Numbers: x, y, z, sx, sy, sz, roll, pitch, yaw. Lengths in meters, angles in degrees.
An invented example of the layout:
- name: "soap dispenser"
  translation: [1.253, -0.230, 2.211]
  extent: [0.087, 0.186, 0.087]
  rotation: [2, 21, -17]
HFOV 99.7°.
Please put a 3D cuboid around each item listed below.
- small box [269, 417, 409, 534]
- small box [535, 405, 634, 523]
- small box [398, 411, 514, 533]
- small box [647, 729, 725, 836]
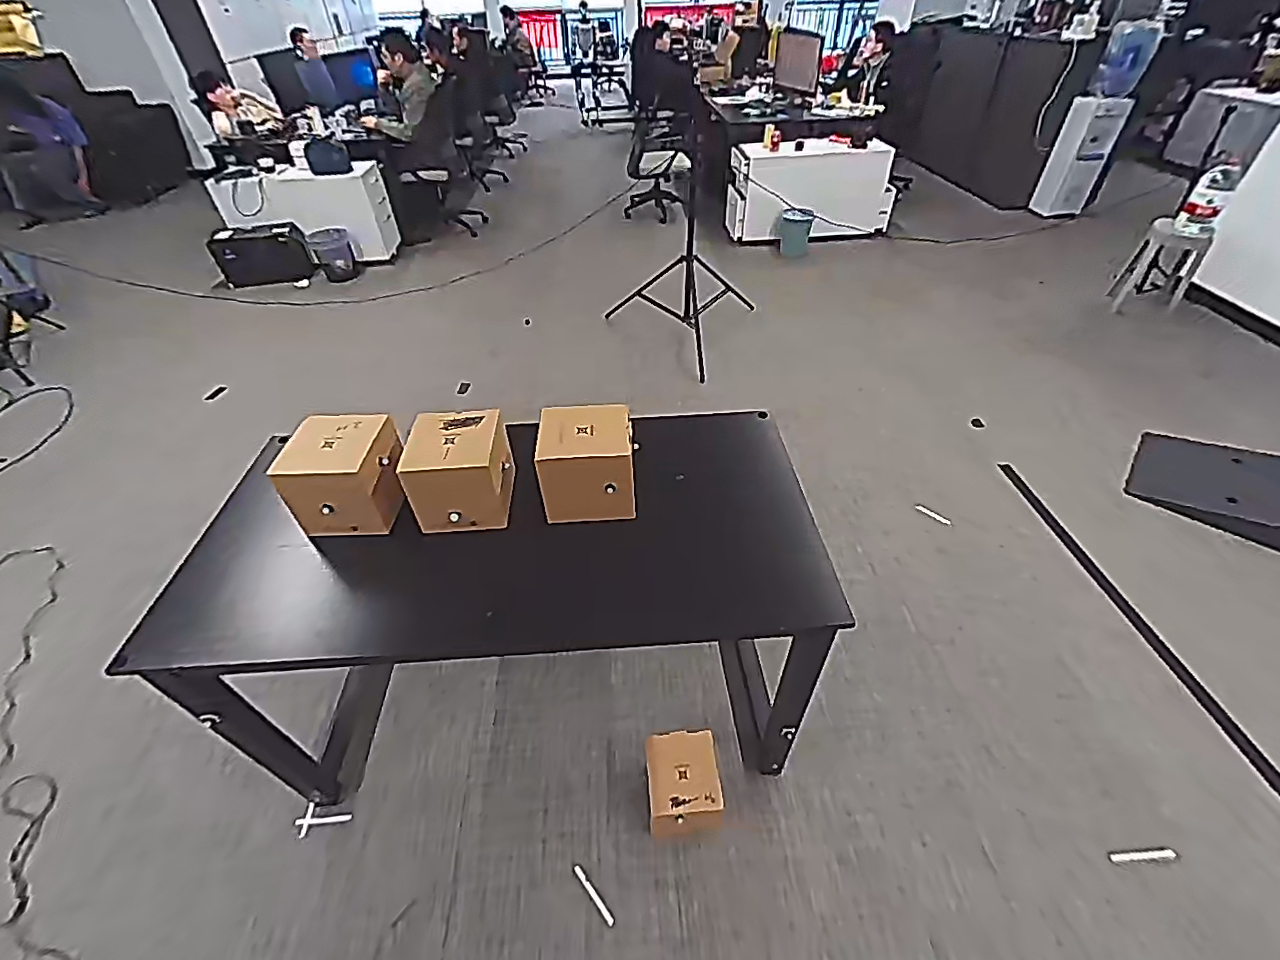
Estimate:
- name: "small box"
  translation: [-0.576, -0.005, 1.070]
  extent: [0.168, 0.176, 0.179]
  rotation: [-1, 42, 0]
- name: "small box"
  translation: [-0.103, -0.031, 1.079]
  extent: [0.179, 0.176, 0.168]
  rotation: [-5, 41, -1]
- name: "small box"
  translation: [-0.351, -0.016, 1.072]
  extent: [0.168, 0.176, 0.179]
  rotation: [-4, 43, -2]
- name: "small box"
  translation: [0.105, 0.734, 1.312]
  extent: [0.168, 0.176, 0.179]
  rotation: [-5, 42, -1]
